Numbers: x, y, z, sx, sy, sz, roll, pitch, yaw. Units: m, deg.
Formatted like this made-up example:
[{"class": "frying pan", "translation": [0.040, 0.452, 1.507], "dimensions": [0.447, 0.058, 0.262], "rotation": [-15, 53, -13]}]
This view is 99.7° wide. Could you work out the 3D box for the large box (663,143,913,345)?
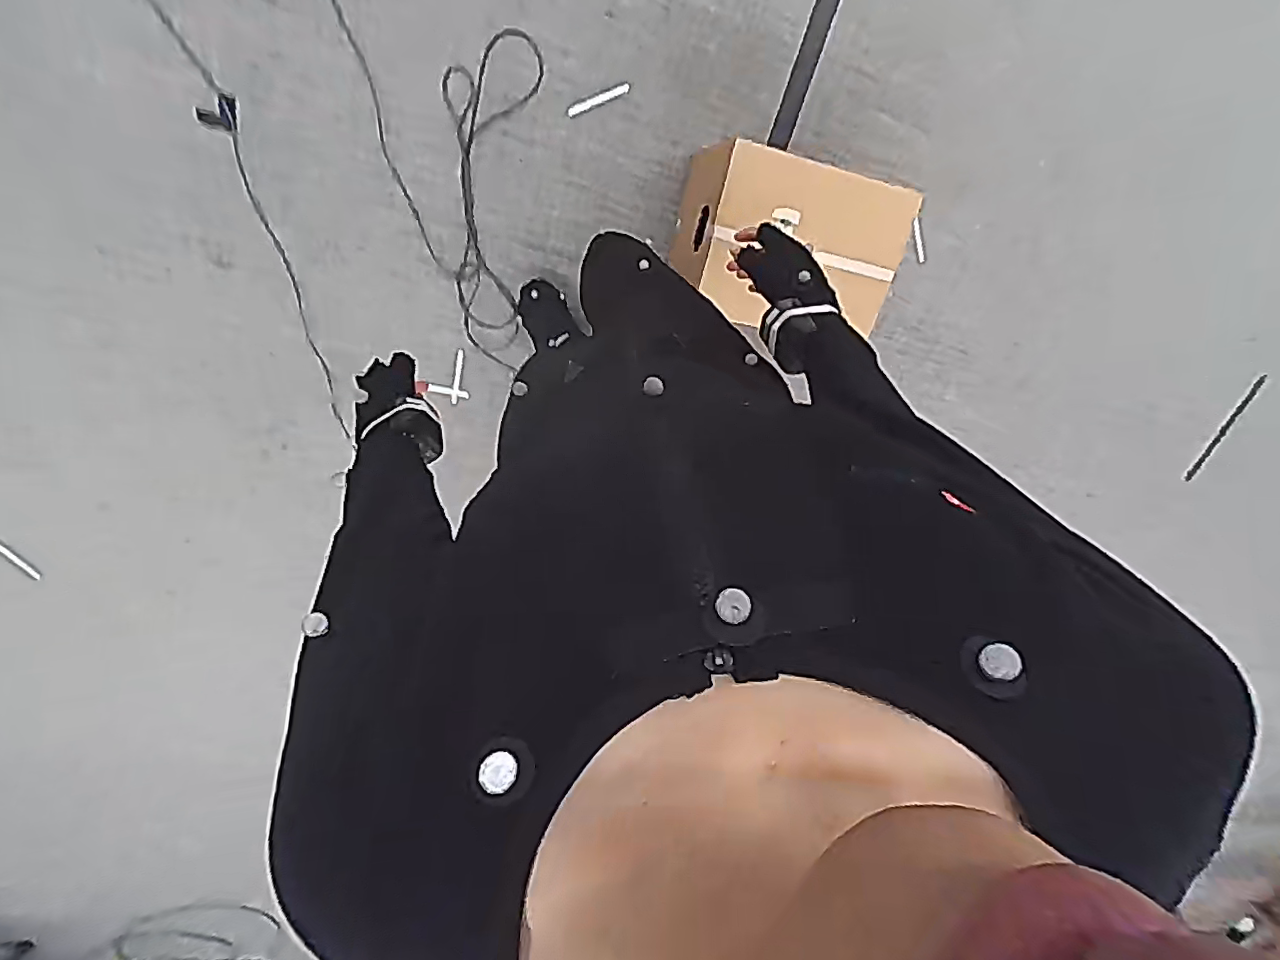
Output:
[{"class": "large box", "translation": [0.299, -0.522, 1.216], "dimensions": [0.408, 0.320, 0.320], "rotation": [8, 115, -13]}]
